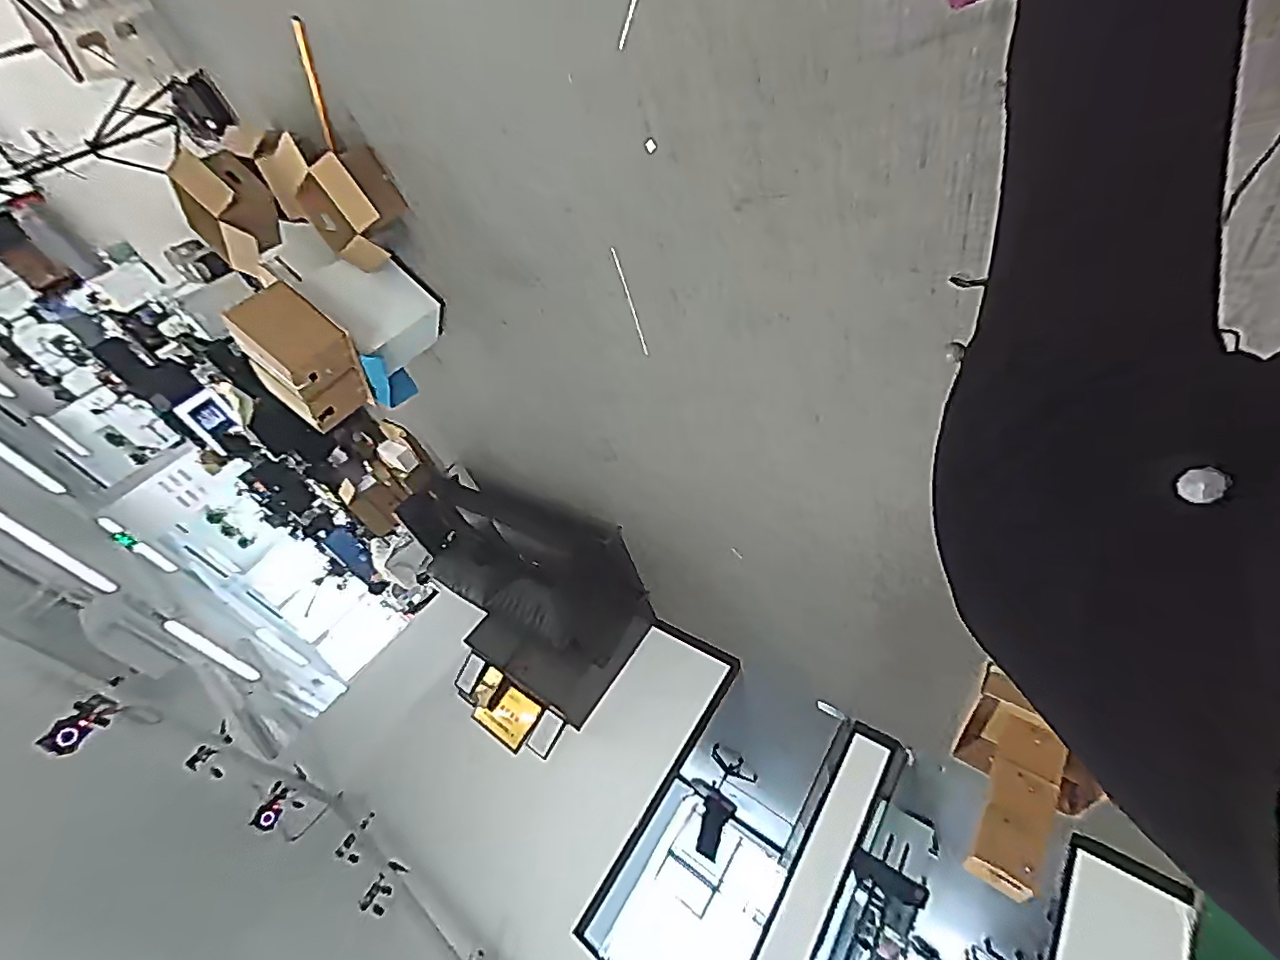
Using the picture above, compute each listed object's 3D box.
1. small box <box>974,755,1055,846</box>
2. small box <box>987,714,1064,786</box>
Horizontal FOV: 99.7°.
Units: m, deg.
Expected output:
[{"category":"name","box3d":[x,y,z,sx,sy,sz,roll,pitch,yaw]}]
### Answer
[{"category":"small box","box3d":[1.224,1.044,1.768,0.168,0.176,0.179,20,144,34]},{"category":"small box","box3d":[1.319,0.940,1.848,0.168,0.176,0.179,20,144,33]}]
